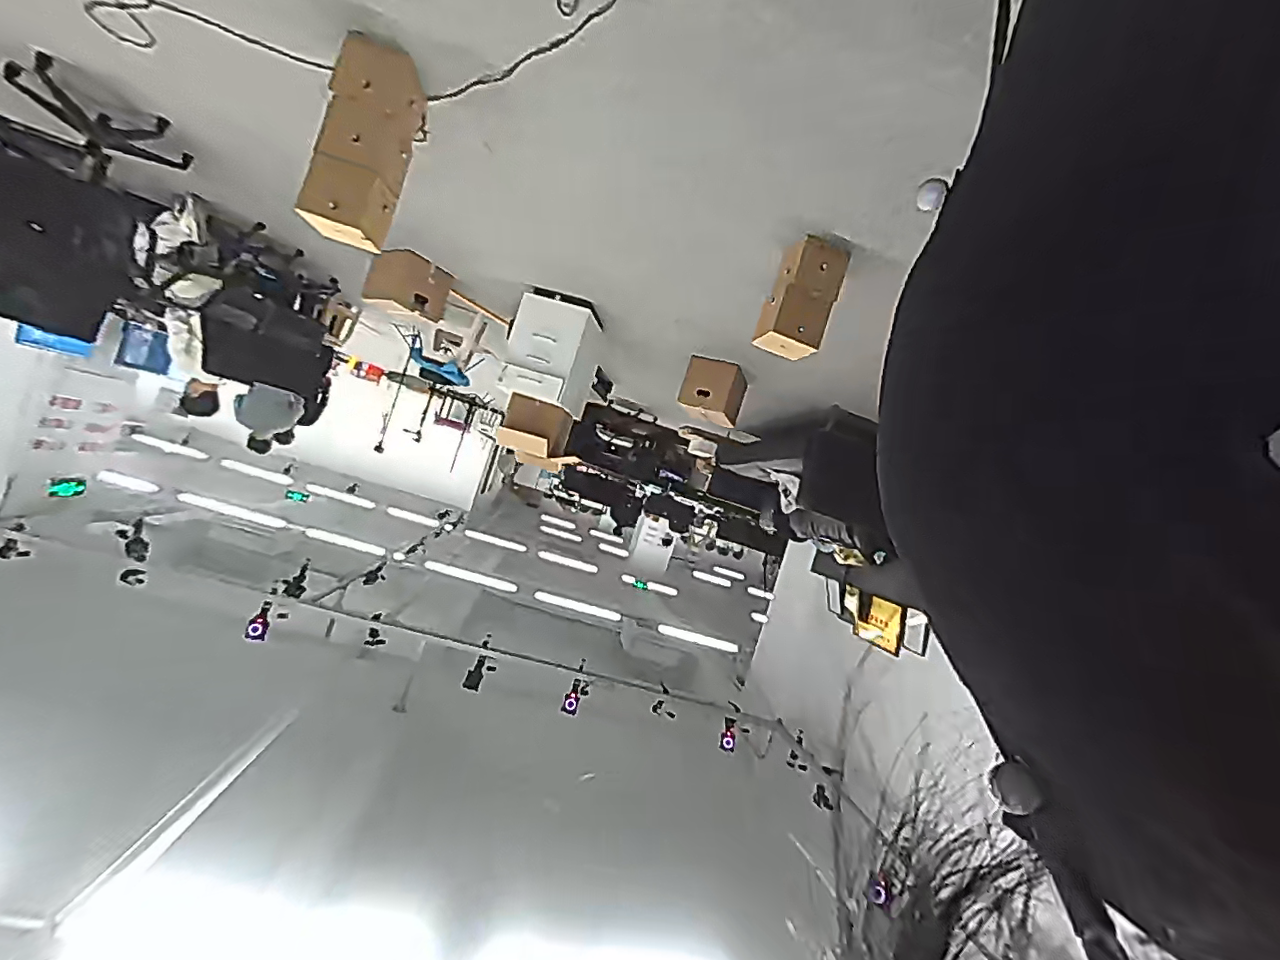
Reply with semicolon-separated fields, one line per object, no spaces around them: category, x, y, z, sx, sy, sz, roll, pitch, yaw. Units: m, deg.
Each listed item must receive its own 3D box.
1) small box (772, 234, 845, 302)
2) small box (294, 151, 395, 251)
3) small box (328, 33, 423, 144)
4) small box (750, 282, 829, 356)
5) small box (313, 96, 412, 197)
small box;0.556;-0.686;1.798;0.168;0.176;0.179;18;178;-11
small box;-0.826;-0.789;1.530;0.179;0.176;0.168;17;179;-5
small box;-0.734;-1.102;1.526;0.179;0.176;0.168;18;178;-2
small box;0.497;-0.534;1.798;0.179;0.176;0.168;19;177;-11
small box;-0.782;-0.945;1.539;0.179;0.176;0.168;17;179;-6
